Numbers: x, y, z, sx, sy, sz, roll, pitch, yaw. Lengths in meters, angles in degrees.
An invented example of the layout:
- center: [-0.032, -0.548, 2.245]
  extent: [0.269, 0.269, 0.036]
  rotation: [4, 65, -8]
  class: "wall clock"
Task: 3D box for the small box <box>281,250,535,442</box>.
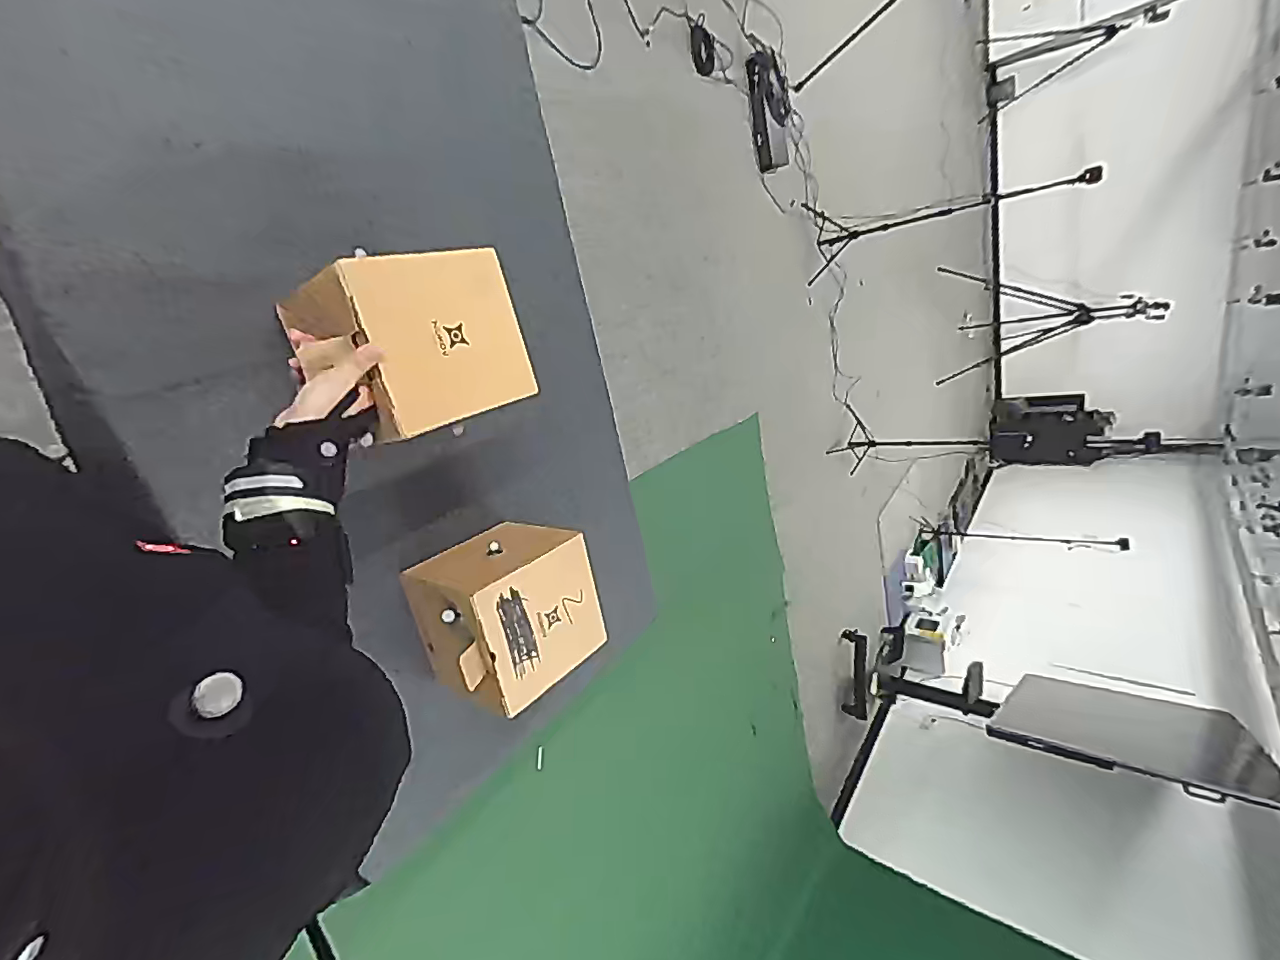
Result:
- center: [-0.254, -0.147, 0.603]
  extent: [0.179, 0.176, 0.168]
  rotation: [-31, 113, -45]
  class: "small box"
